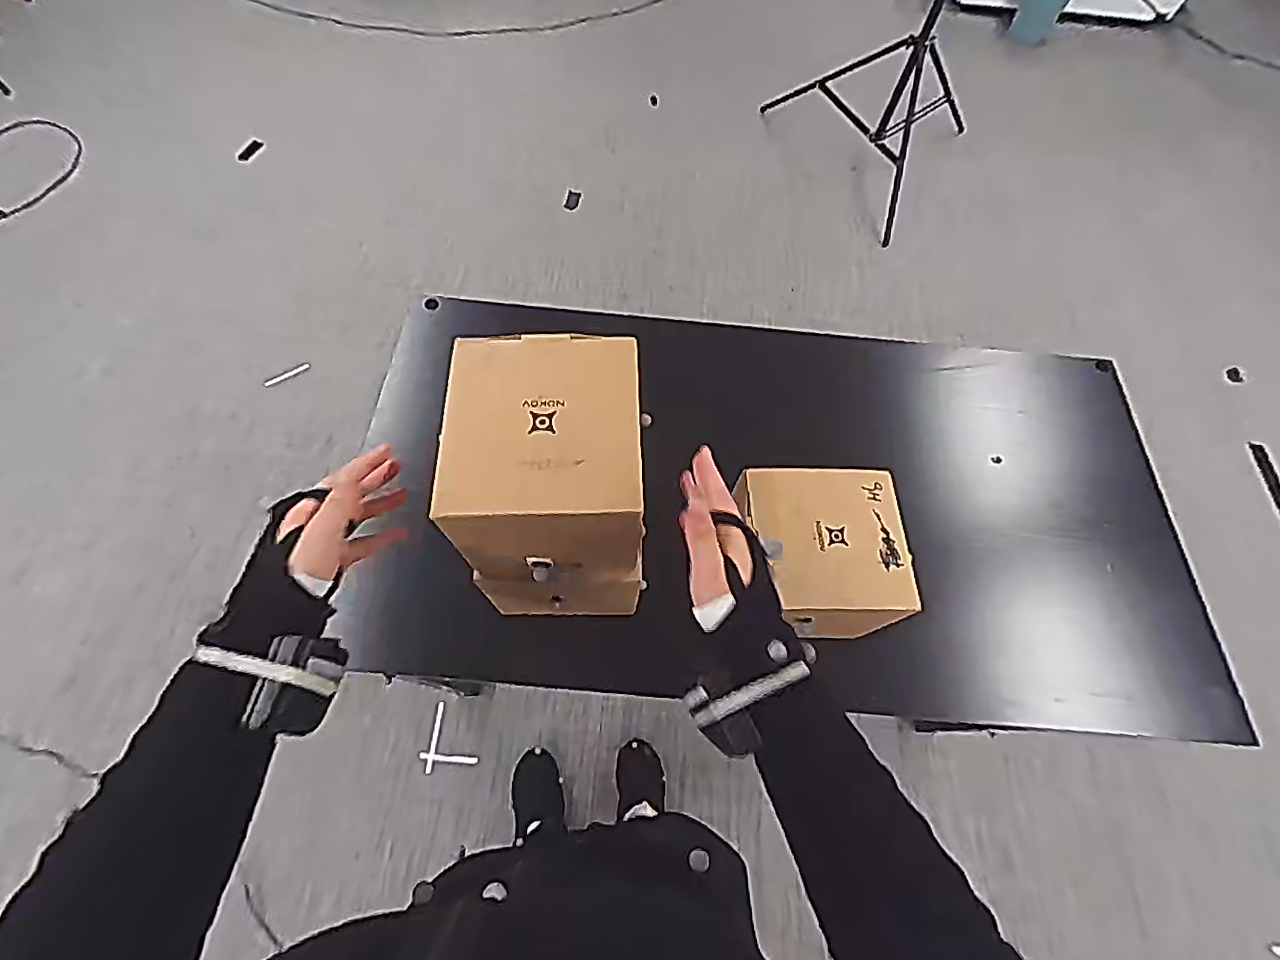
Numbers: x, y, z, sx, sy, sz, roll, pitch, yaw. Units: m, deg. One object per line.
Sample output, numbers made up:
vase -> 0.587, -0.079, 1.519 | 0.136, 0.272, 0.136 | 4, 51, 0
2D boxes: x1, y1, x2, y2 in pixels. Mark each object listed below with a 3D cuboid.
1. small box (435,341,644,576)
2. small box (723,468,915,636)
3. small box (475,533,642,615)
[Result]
small box -> -0.084, -0.015, 0.531 | 0.168, 0.176, 0.179 | -1, 65, -3
small box -> 0.203, 0.097, 0.675 | 0.179, 0.176, 0.168 | 1, 64, -2
small box -> -0.089, 0.068, 0.672 | 0.179, 0.176, 0.168 | 1, 64, -2
